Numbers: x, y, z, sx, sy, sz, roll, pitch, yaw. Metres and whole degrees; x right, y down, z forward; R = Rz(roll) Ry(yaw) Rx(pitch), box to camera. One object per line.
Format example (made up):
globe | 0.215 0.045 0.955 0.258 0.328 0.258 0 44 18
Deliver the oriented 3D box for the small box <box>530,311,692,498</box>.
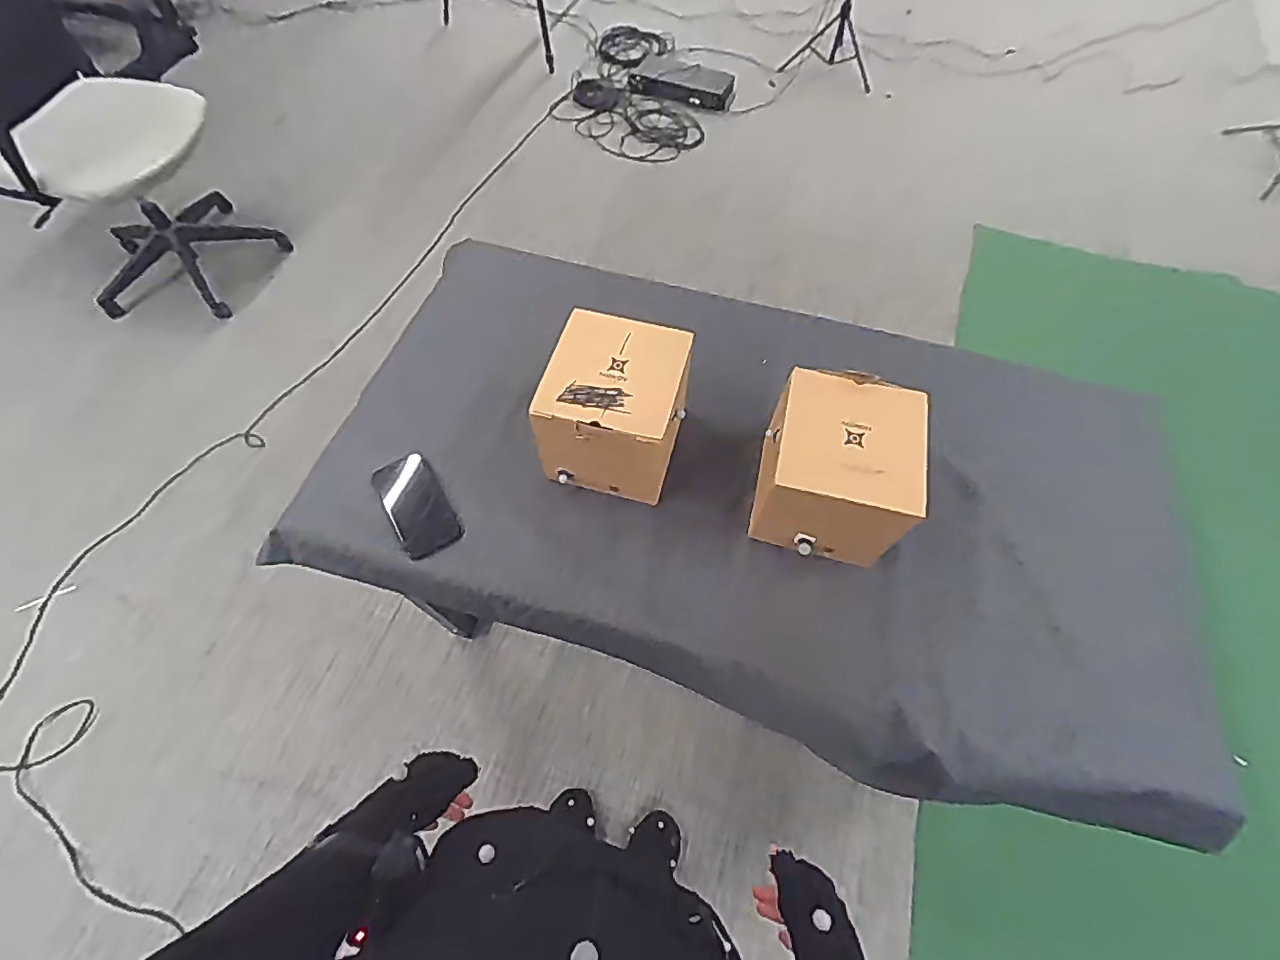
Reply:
small box | -0.033 -0.096 0.742 0.168 0.176 0.179 14 62 6

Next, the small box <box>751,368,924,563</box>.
small box | 0.249 -0.014 0.706 0.168 0.176 0.179 12 63 7
